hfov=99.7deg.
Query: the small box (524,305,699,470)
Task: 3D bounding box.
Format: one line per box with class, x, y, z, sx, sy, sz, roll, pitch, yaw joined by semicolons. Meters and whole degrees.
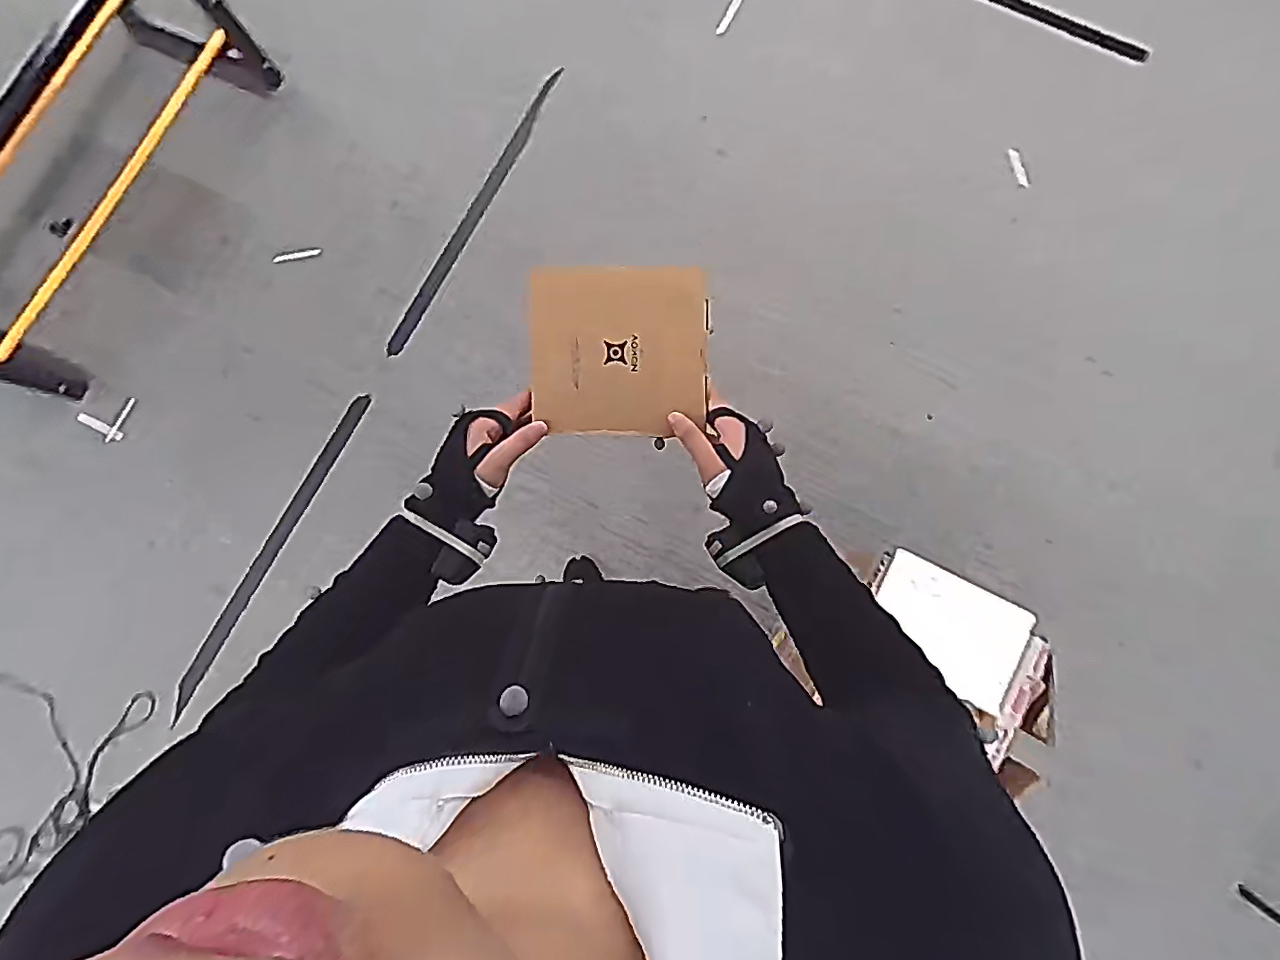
small box;-0.029;-0.099;0.621;0.179;0.176;0.168;-1;94;0
